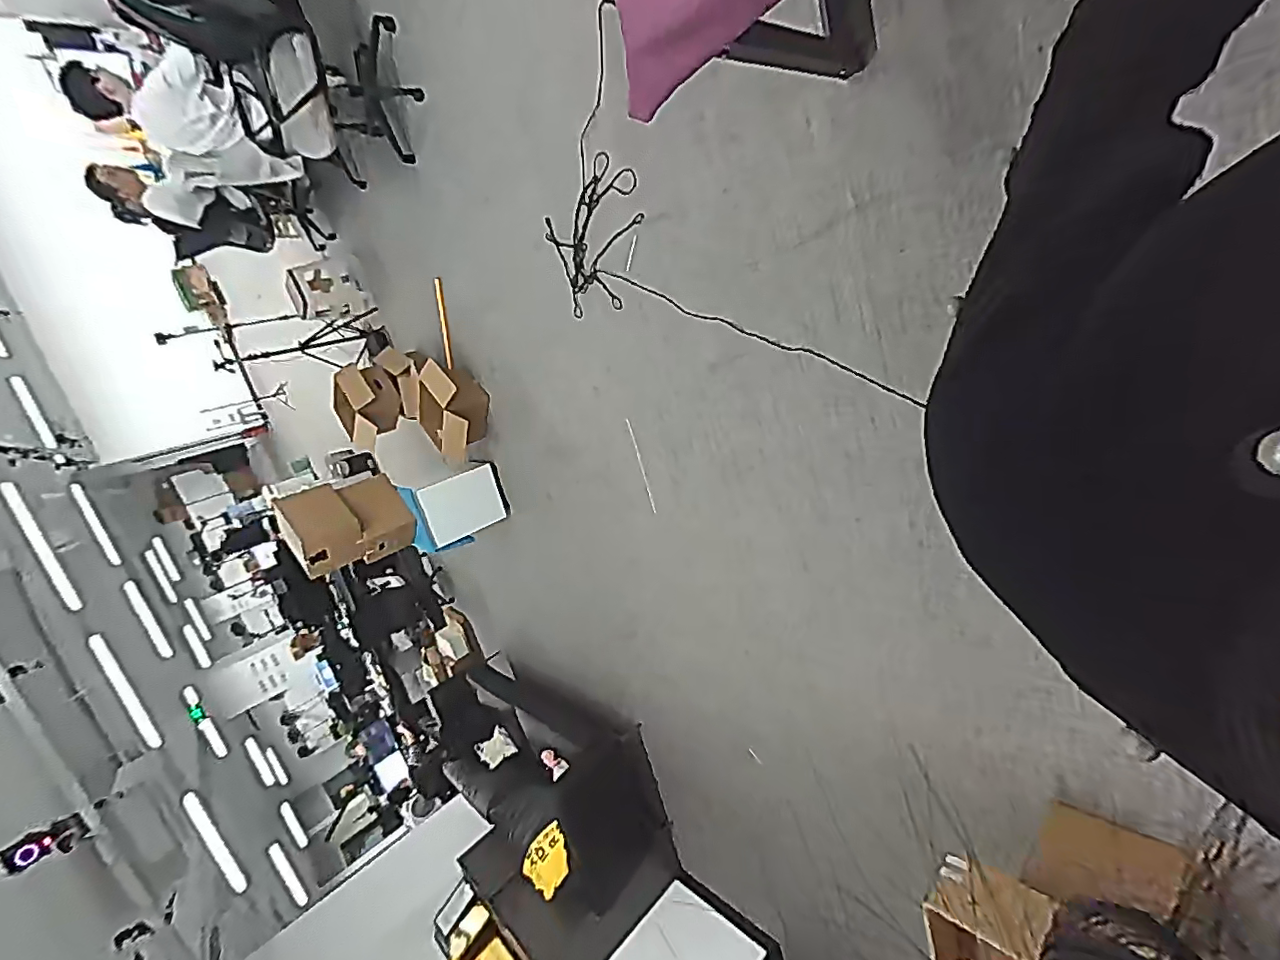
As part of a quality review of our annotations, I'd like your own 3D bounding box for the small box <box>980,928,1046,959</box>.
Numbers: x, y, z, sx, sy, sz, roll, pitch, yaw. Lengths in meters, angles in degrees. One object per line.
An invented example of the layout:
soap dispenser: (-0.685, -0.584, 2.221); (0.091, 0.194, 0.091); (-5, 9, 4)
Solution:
small box: (0.926, 1.264, 1.318); (0.168, 0.176, 0.179); (10, 117, 49)
